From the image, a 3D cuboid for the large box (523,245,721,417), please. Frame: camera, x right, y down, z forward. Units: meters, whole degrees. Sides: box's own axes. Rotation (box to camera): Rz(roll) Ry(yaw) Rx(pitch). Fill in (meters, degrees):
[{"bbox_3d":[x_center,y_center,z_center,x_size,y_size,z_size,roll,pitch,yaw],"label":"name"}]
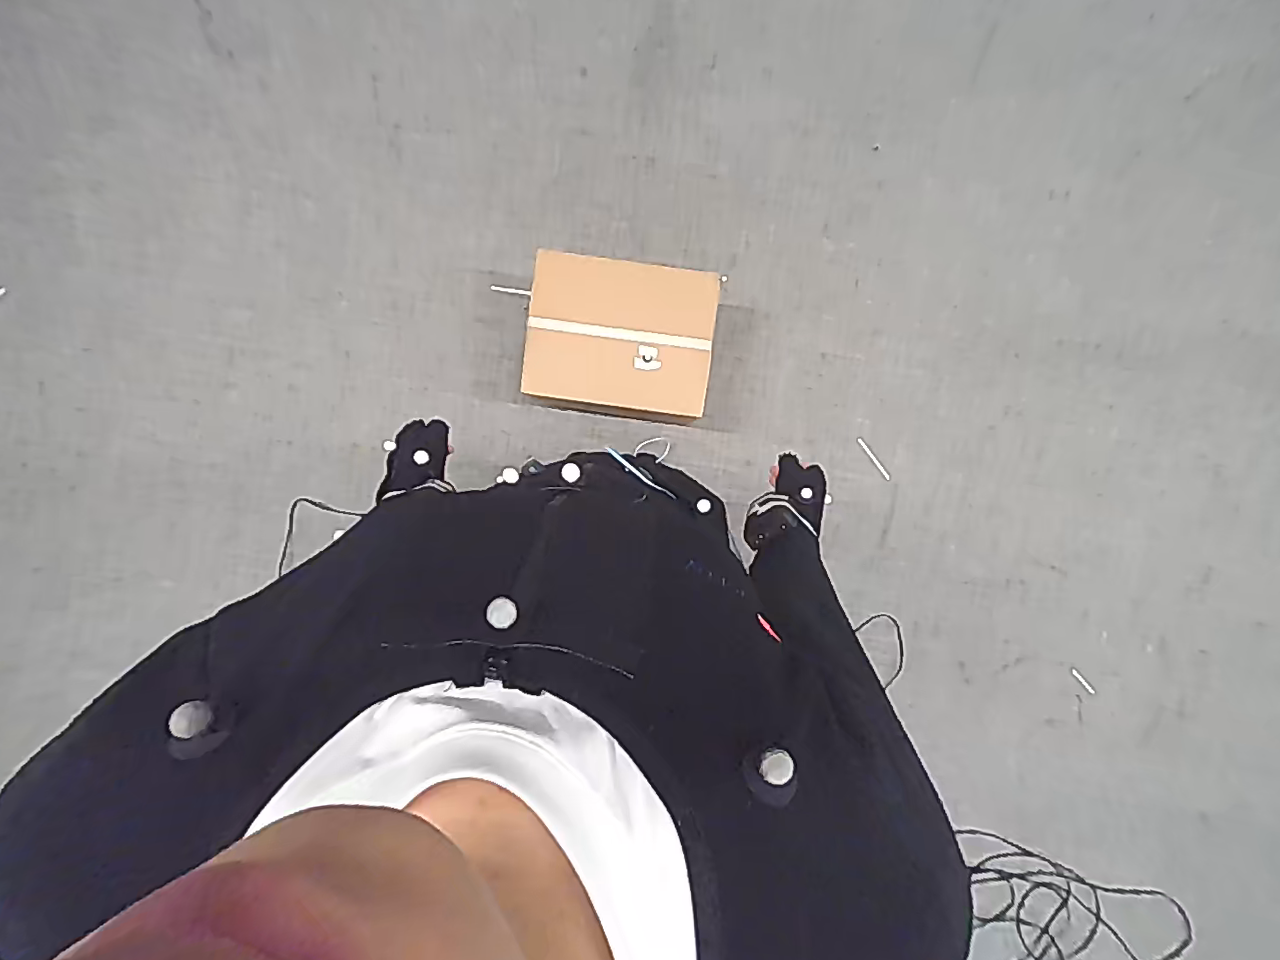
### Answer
[{"bbox_3d":[-0.046,-0.337,1.317,0.408,0.320,0.320,8,94,-2],"label":"large box"}]
